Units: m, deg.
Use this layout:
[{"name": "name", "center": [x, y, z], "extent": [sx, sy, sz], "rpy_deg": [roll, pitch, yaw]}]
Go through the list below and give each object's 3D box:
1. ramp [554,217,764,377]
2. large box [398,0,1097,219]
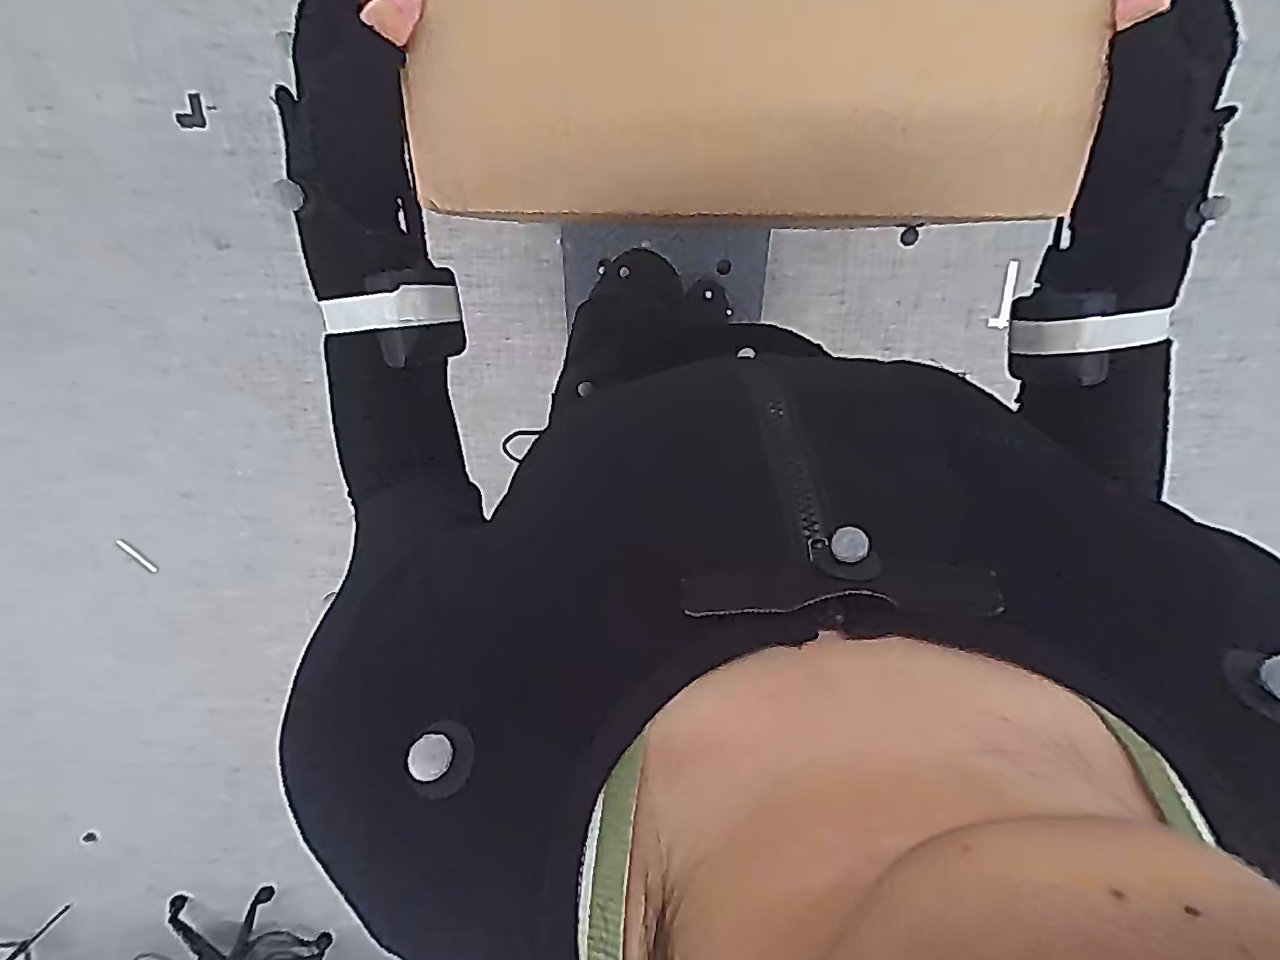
[{"name": "ramp", "center": [0.047, -0.709, 1.200], "extent": [0.509, 0.206, 0.991], "rpy_deg": [-1, 111, 0]}, {"name": "large box", "center": [0.061, -0.375, 0.418], "extent": [0.408, 0.320, 0.320], "rpy_deg": [0, 114, -2]}]
